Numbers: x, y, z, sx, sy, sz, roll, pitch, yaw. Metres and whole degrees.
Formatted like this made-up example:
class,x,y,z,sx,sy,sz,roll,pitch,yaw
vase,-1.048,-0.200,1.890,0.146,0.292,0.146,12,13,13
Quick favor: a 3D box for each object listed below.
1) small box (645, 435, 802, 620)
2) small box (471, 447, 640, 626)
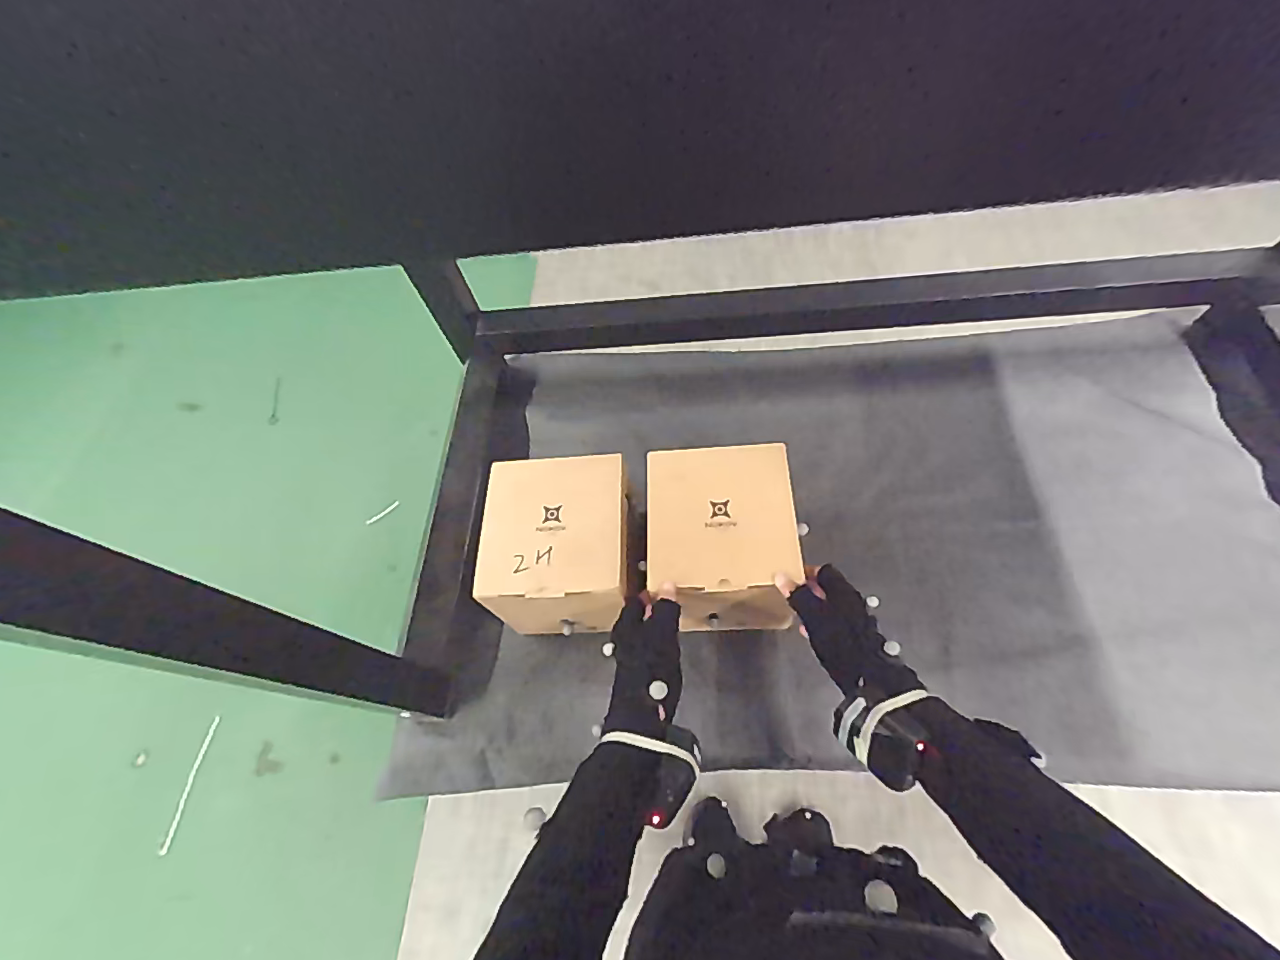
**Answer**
class,x,y,z,sx,sy,sz,roll,pitch,yaw
small box,0.098,0.065,0.672,0.168,0.176,0.179,-4,61,7
small box,-0.093,0.077,0.691,0.168,0.176,0.179,-4,61,7
